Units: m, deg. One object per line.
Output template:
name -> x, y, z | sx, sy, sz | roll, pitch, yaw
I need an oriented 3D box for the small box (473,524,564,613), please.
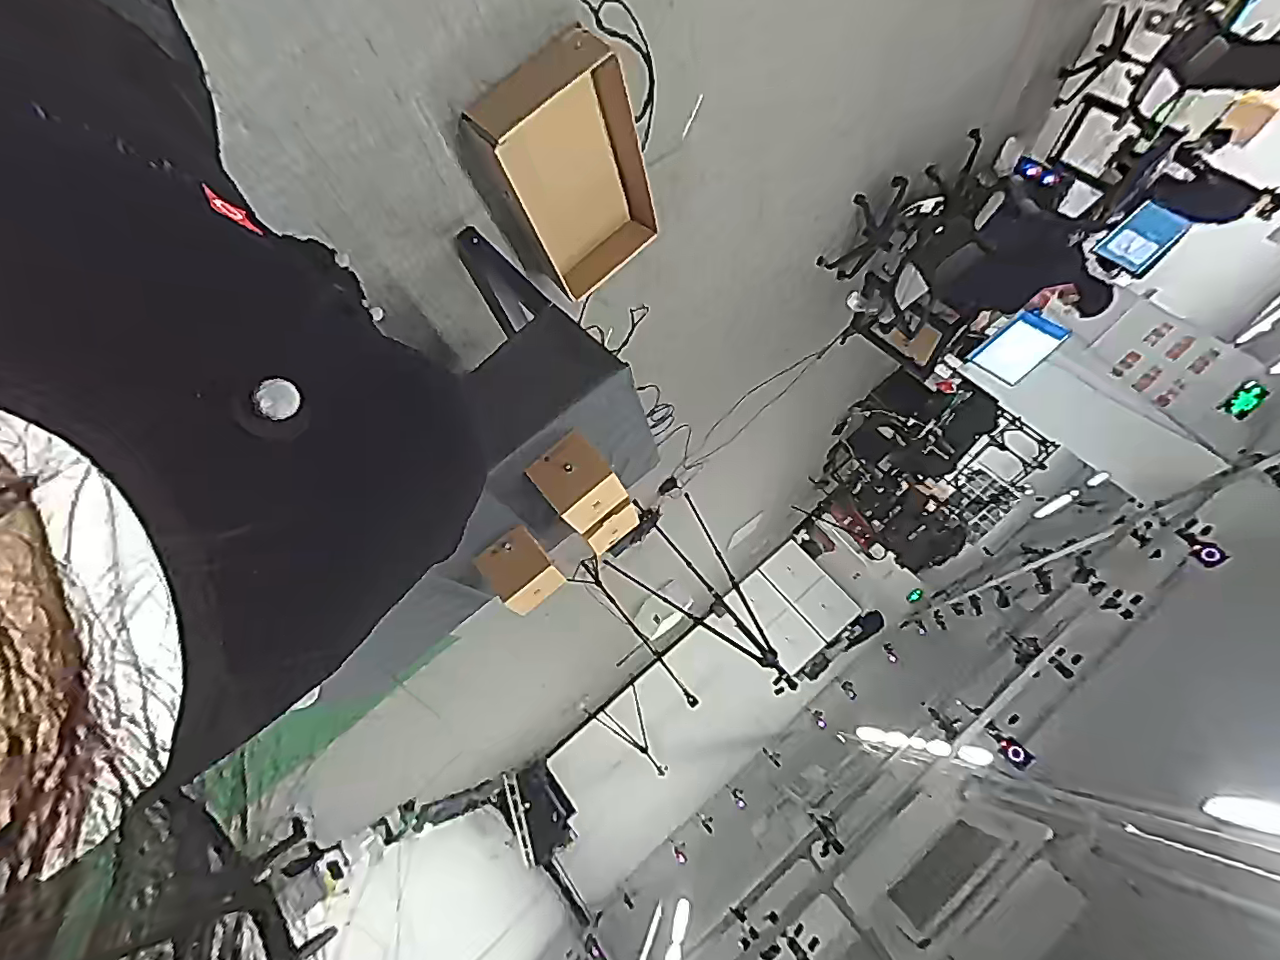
small box -> -0.345, 0.252, 1.550 | 0.168, 0.176, 0.179 | -39, 157, -11
